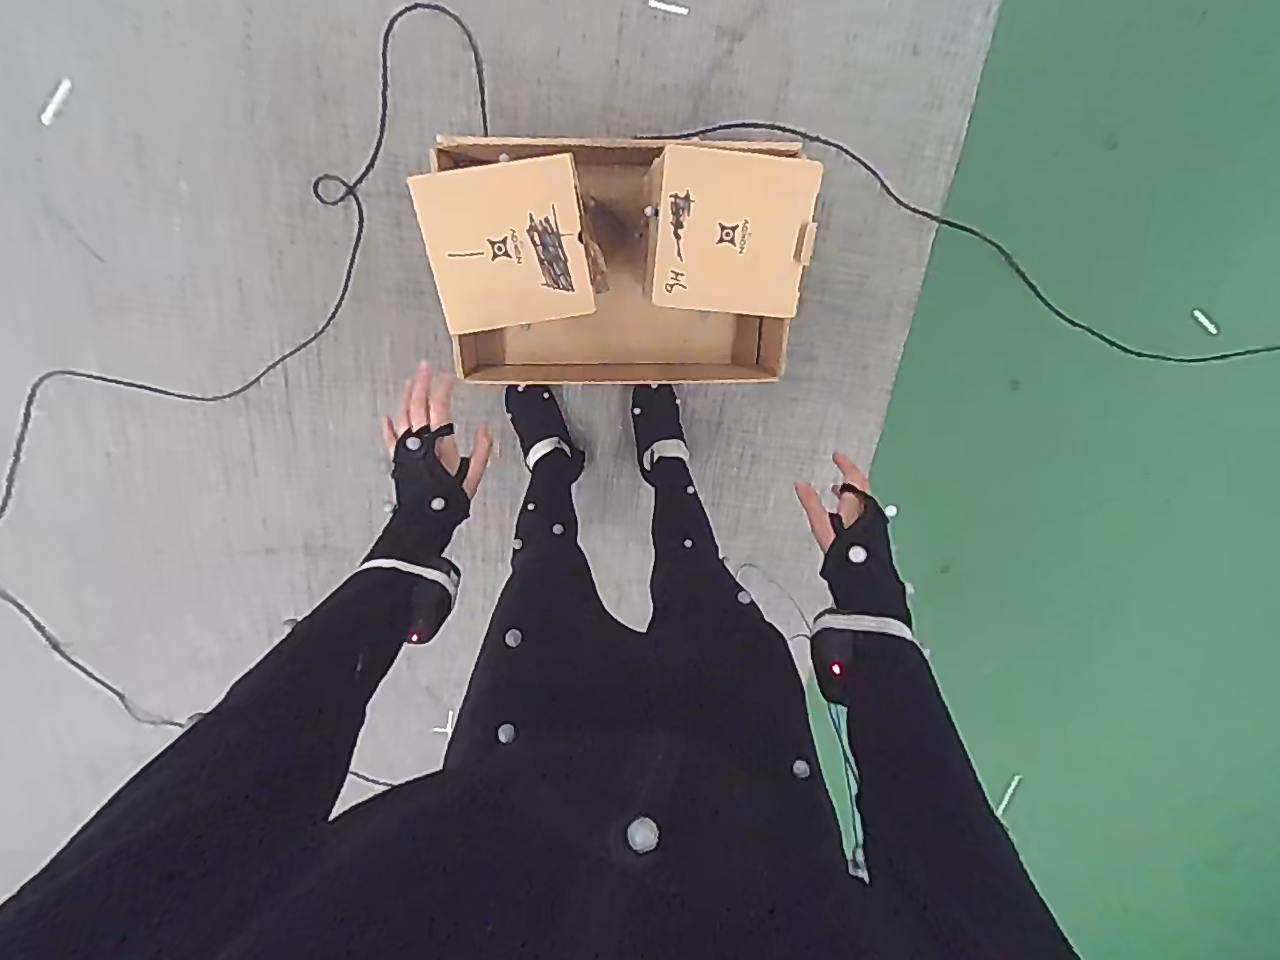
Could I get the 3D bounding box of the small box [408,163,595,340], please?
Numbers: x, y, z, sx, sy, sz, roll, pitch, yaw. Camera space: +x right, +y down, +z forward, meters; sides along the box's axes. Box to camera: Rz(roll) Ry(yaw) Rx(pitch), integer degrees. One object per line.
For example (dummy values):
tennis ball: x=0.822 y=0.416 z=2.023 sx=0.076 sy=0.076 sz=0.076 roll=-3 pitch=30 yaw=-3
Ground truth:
small box: x=-0.155 y=-0.281 z=0.671 sx=0.179 sy=0.176 sz=0.168 roll=-9 pitch=113 yaw=-1

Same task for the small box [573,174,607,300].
small box: x=-0.157 y=-0.347 z=0.822 sx=0.179 sy=0.176 sz=0.168 roll=-16 pitch=113 yaw=2

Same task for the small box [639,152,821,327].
small box: x=0.098 y=-0.294 z=0.679 sx=0.179 sy=0.176 sz=0.168 roll=4 pitch=111 yaw=-5
